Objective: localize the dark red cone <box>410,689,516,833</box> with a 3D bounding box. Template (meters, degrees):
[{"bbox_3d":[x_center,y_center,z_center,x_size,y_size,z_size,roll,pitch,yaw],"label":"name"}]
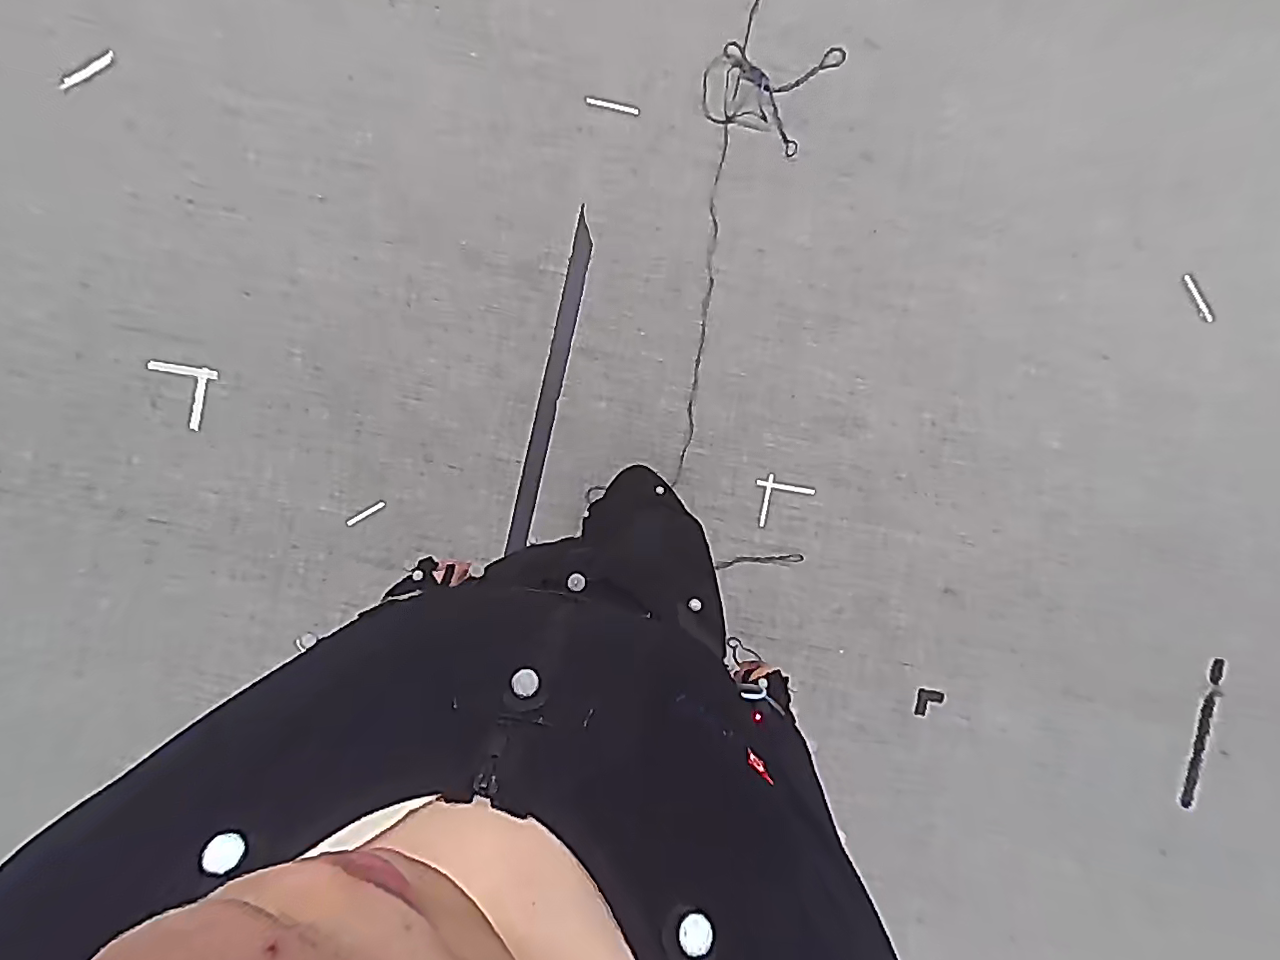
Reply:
[{"bbox_3d":[-0.409,0.623,1.167,0.201,0.394,0.202,11,89,-2],"label":"dark red cone"}]
